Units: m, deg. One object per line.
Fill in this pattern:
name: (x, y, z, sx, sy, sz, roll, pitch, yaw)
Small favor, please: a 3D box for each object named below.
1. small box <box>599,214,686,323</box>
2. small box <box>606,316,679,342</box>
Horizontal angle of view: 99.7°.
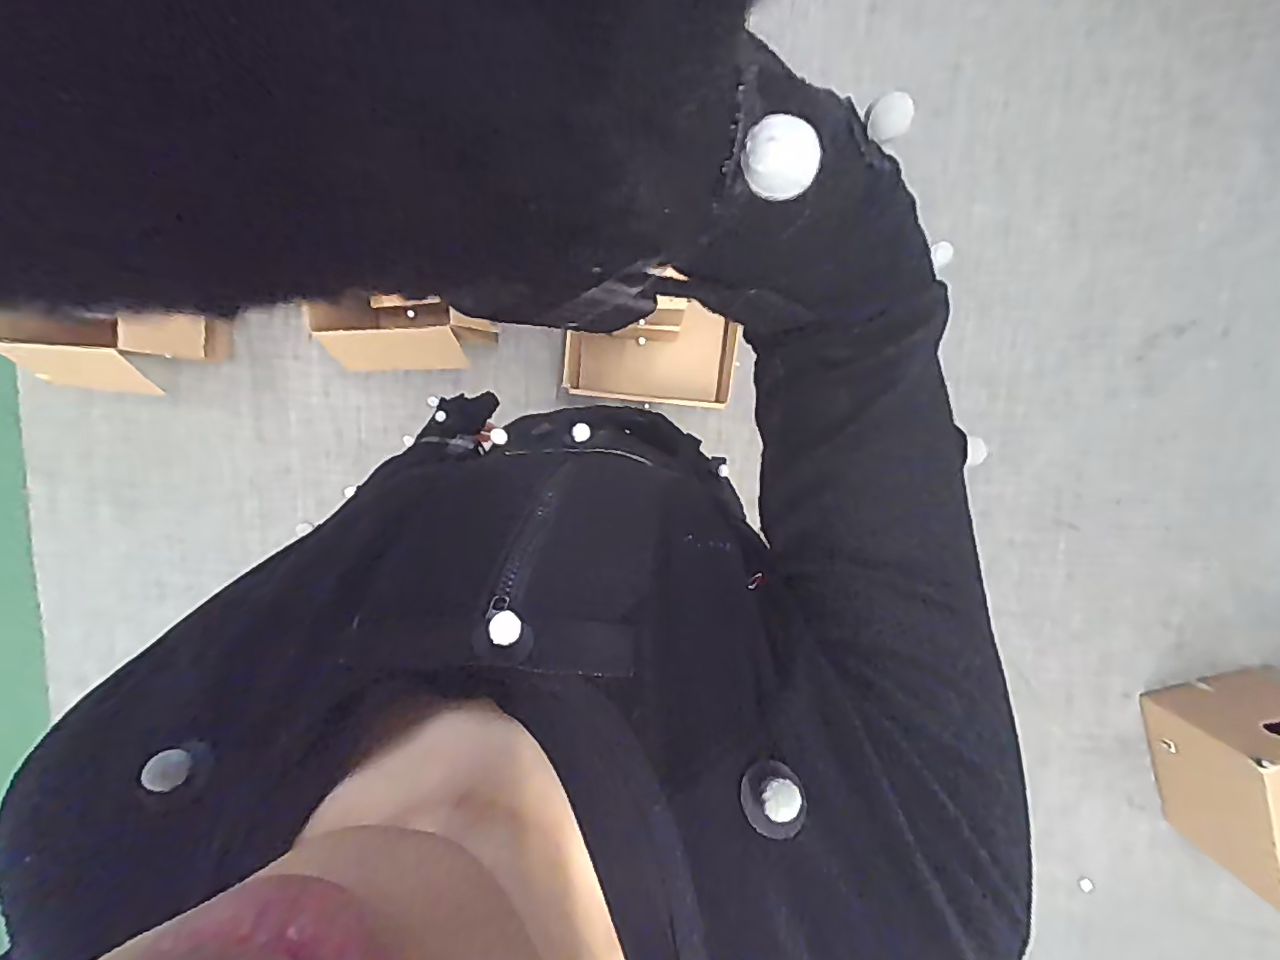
small box: (0.006, -0.427, 1.119, 0.168, 0.176, 0.179, 1, 95, 0)
small box: (0.011, -0.435, 1.283, 0.168, 0.176, 0.179, 4, 96, 0)
